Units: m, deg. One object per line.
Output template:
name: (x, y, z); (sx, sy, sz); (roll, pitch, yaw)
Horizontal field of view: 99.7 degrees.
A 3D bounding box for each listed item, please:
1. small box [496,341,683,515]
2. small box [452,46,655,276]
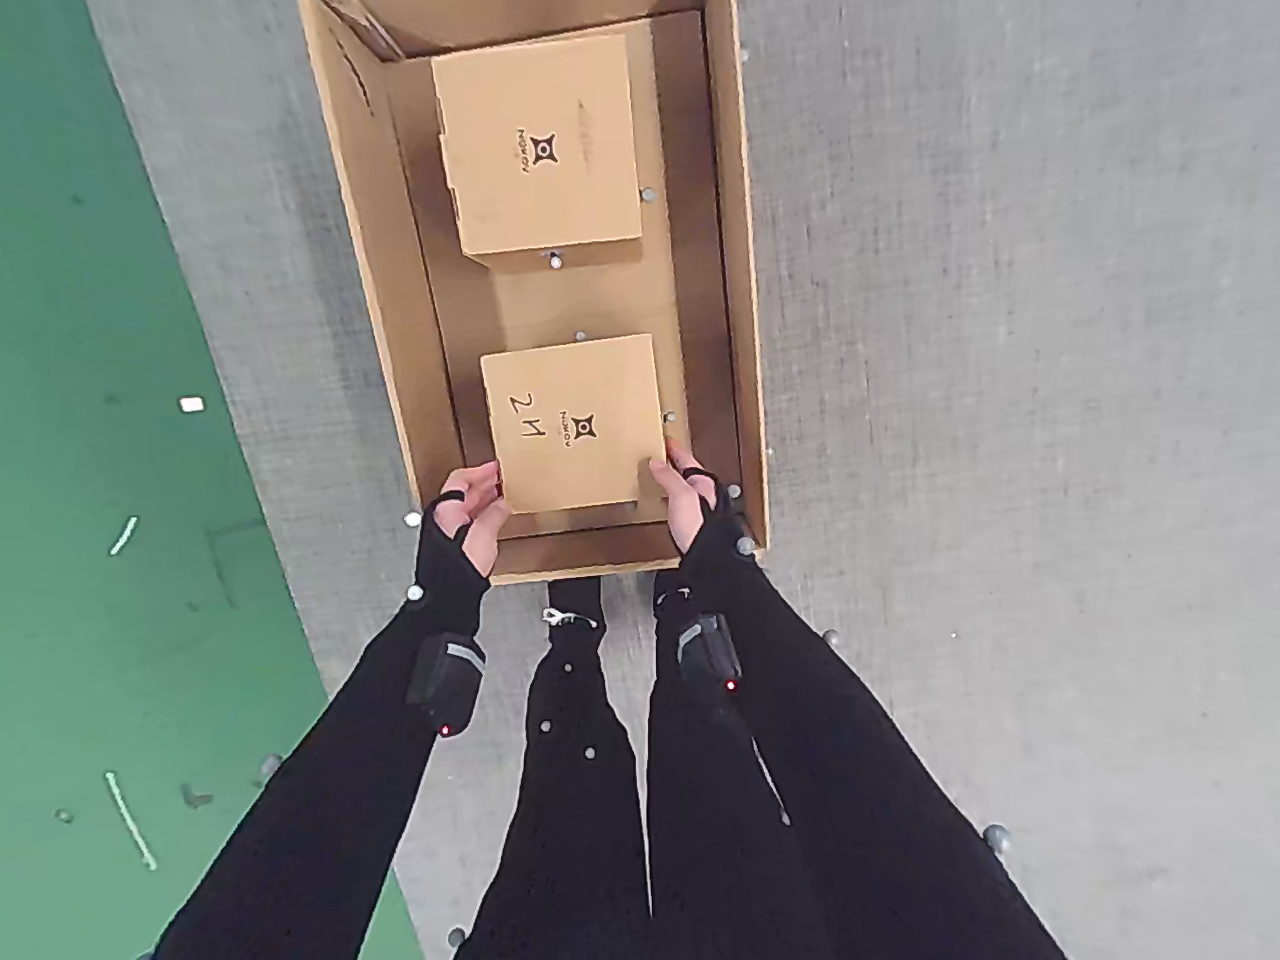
small box: (-0.047, -0.063, 0.622); (0.179, 0.176, 0.168); (-5, 99, 4)
small box: (-0.075, -0.315, 0.572); (0.179, 0.176, 0.168); (-4, 105, 1)
